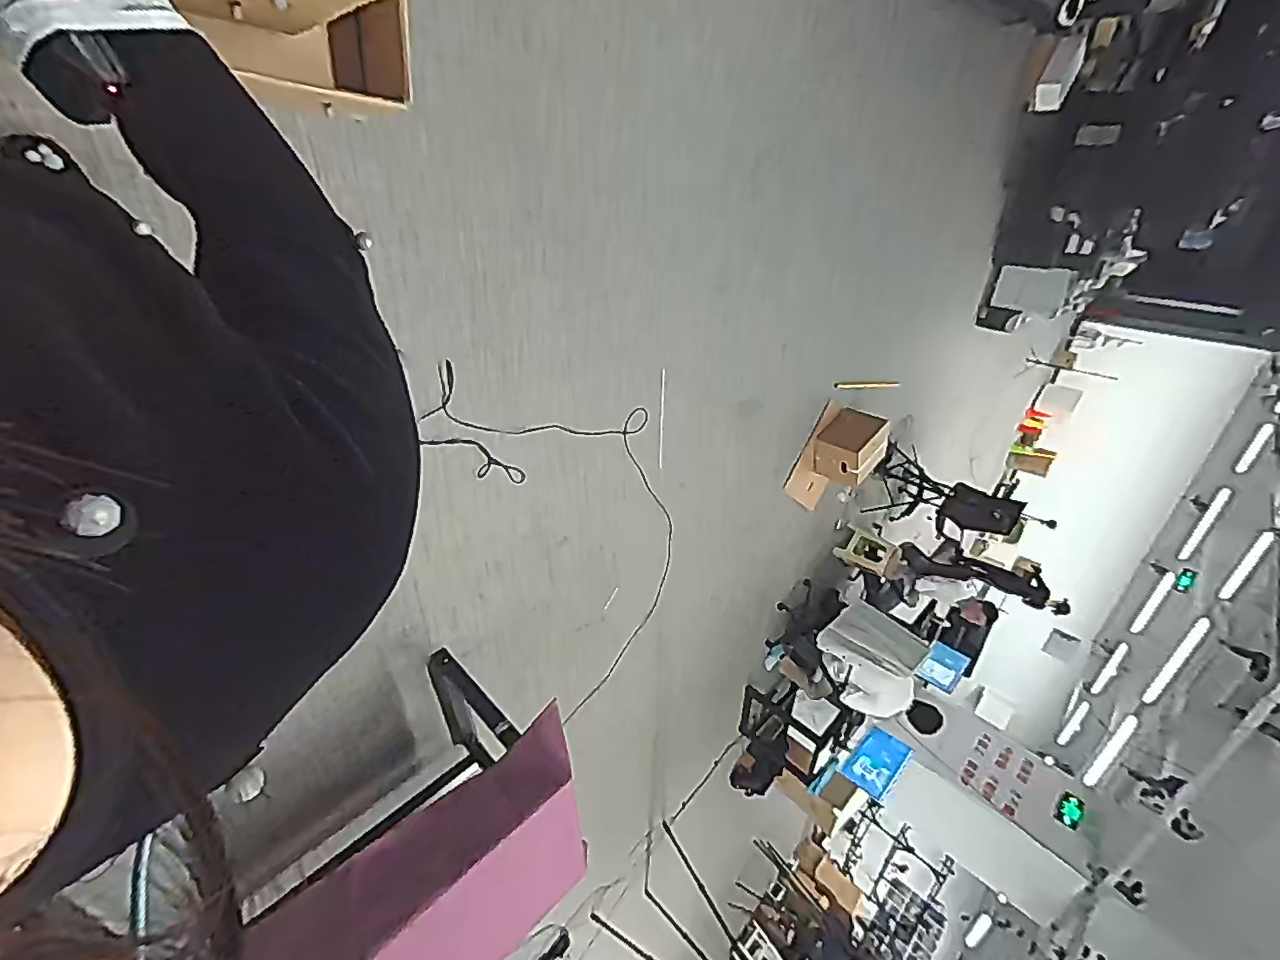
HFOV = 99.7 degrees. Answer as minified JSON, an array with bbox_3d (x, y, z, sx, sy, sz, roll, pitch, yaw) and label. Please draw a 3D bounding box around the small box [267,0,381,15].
[{"bbox_3d":[-0.372,-0.580,0.518,0.168,0.176,0.179,-23,129,-40],"label":"small box"}]
